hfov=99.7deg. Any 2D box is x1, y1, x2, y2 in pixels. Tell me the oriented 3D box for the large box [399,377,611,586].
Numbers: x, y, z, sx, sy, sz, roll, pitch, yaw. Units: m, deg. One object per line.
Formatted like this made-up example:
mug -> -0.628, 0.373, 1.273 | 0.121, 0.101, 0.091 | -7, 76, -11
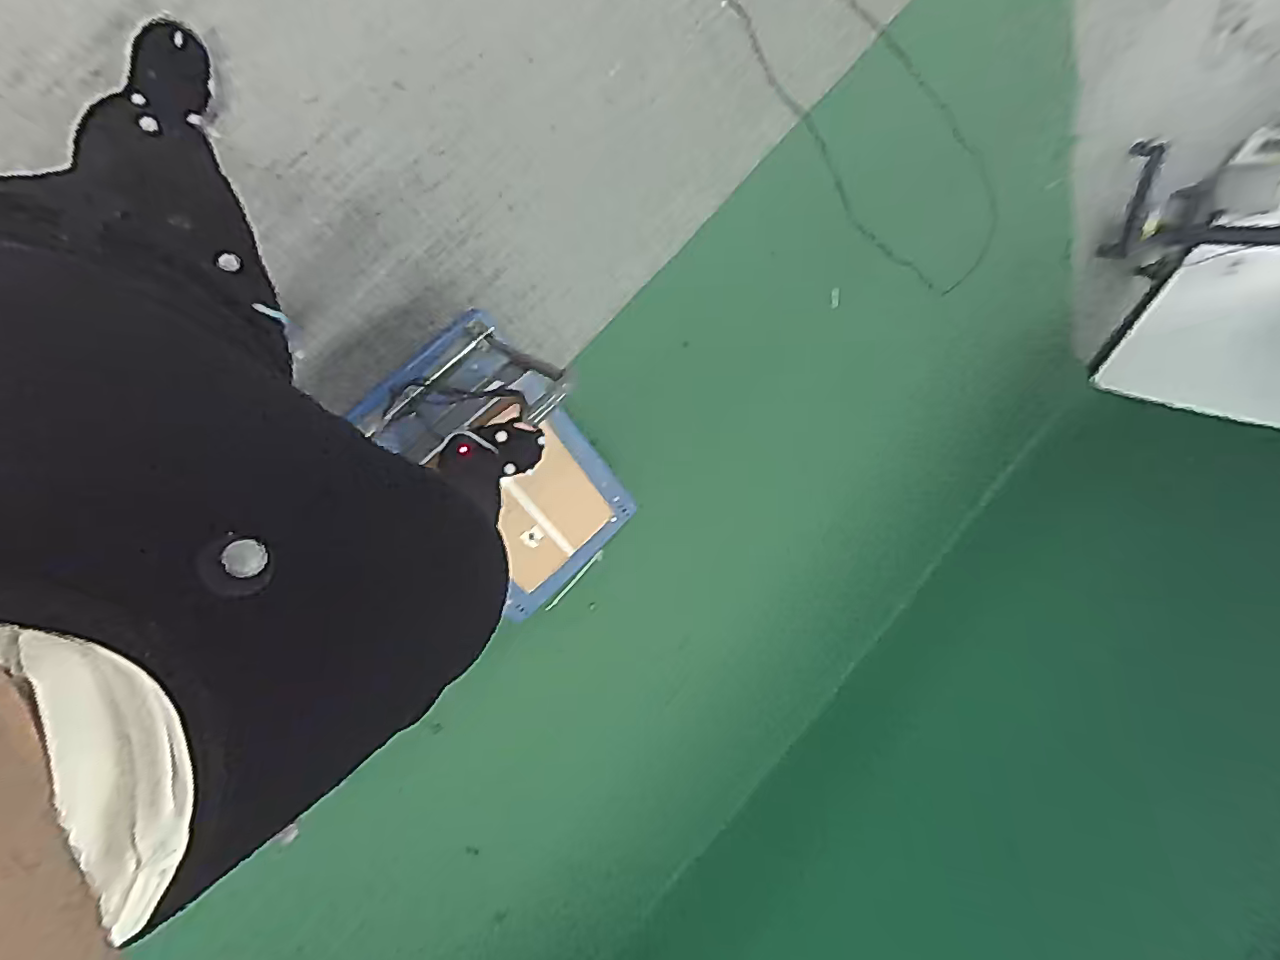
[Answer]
large box -> -0.356, -0.001, 1.440 | 0.320, 0.320, 0.408 | -42, 130, -11
